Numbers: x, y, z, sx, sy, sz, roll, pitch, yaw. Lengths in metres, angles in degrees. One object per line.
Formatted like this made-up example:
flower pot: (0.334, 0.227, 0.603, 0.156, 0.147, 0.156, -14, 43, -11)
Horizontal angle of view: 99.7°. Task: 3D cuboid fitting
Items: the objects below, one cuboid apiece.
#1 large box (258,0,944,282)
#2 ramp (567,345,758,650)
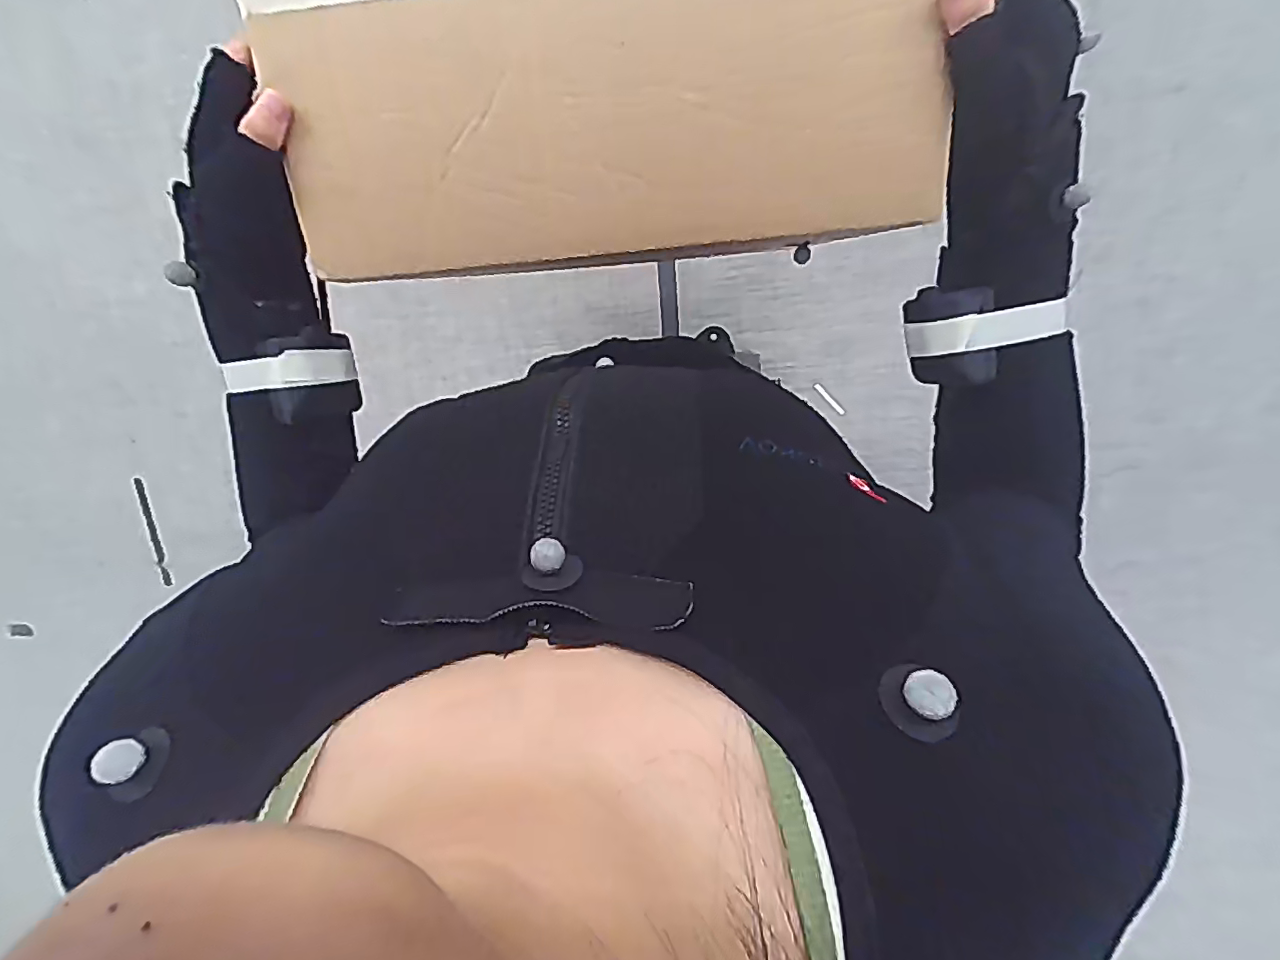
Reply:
large box: (-0.020, -0.350, 0.443, 0.408, 0.320, 0.320, -4, 111, 4)
ramp: (0.102, 0.116, 1.625, 0.509, 0.206, 0.991, -6, 105, 5)
